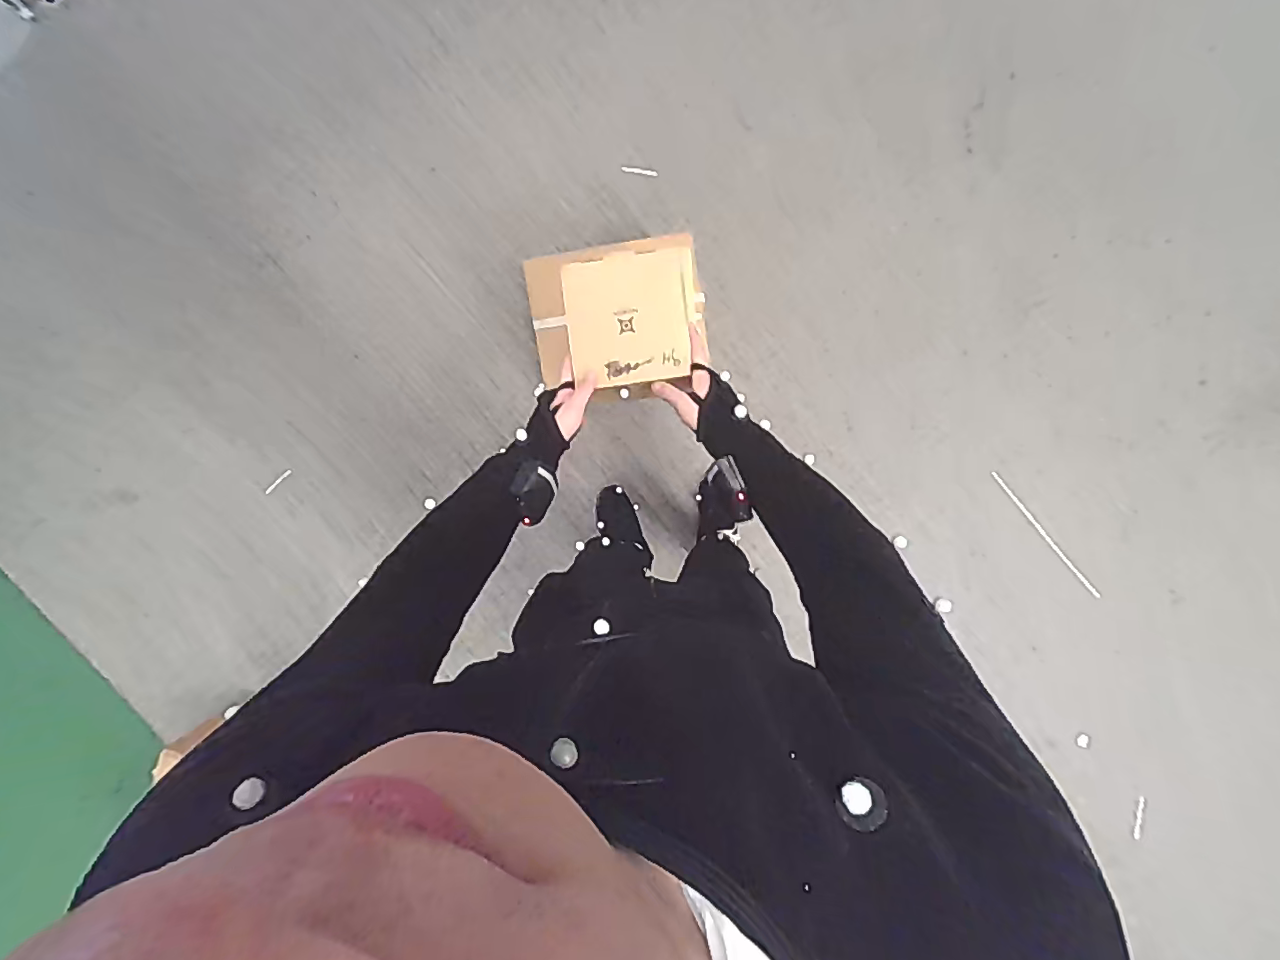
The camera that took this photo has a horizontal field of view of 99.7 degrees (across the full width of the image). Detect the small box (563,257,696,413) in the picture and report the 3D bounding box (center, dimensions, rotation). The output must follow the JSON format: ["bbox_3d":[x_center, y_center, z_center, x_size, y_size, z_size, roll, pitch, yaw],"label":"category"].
[{"bbox_3d":[-0.008,-0.203,0.803,0.168,0.176,0.179,-7,91,7],"label":"small box"}]

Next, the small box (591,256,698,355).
[{"bbox_3d":[0.011,-0.304,1.011,0.179,0.176,0.168,-5,96,4],"label":"small box"}]

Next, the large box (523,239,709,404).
[{"bbox_3d":[-0.048,-0.387,1.416,0.408,0.320,0.320,-9,93,4],"label":"large box"}]
